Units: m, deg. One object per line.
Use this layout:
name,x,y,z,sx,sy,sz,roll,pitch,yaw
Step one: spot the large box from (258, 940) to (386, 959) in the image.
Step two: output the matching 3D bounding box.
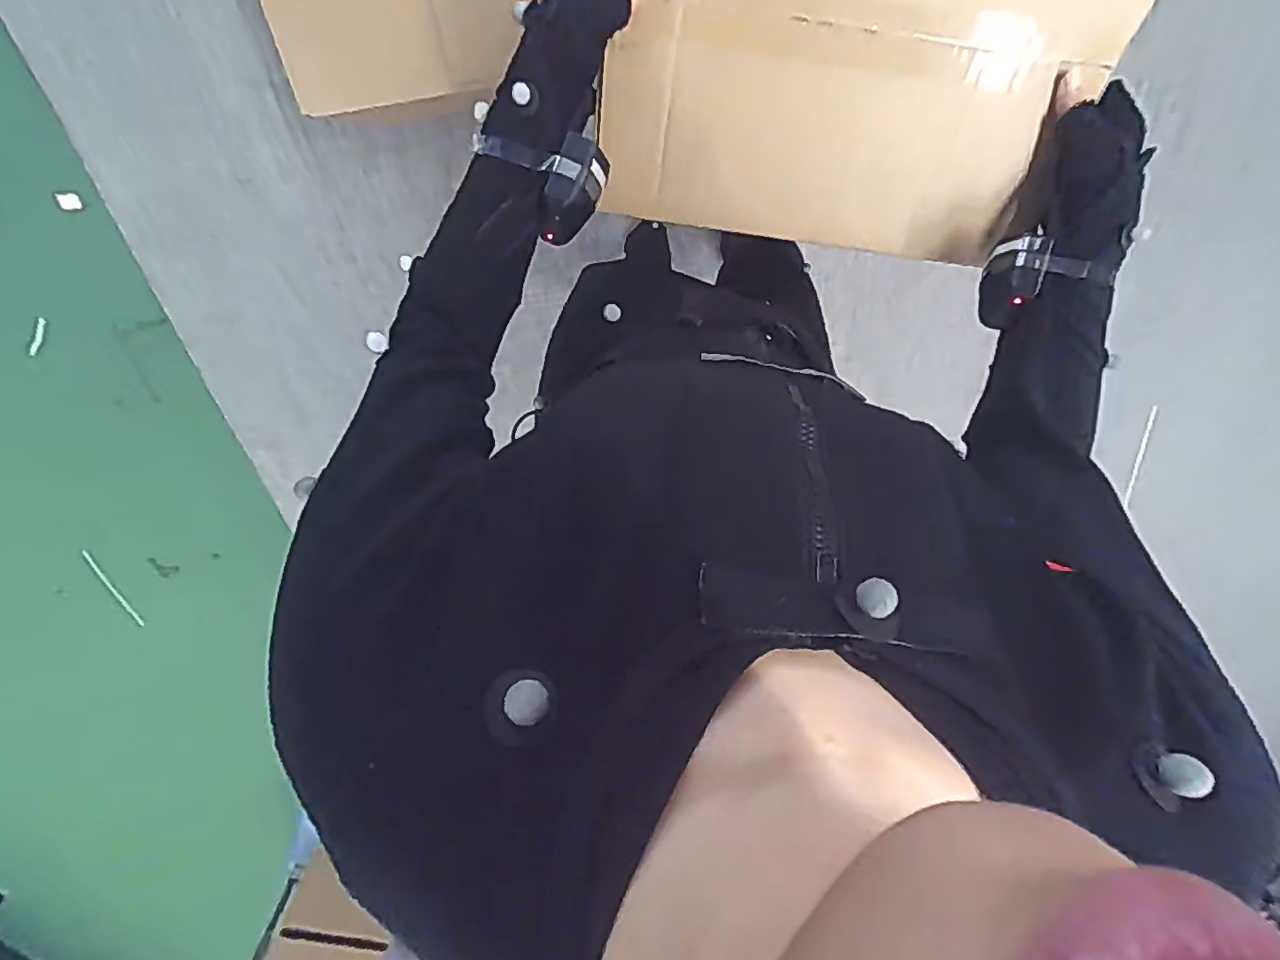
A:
large box,-1.084,1.750,1.739,0.408,0.320,0.320,20,121,-11
